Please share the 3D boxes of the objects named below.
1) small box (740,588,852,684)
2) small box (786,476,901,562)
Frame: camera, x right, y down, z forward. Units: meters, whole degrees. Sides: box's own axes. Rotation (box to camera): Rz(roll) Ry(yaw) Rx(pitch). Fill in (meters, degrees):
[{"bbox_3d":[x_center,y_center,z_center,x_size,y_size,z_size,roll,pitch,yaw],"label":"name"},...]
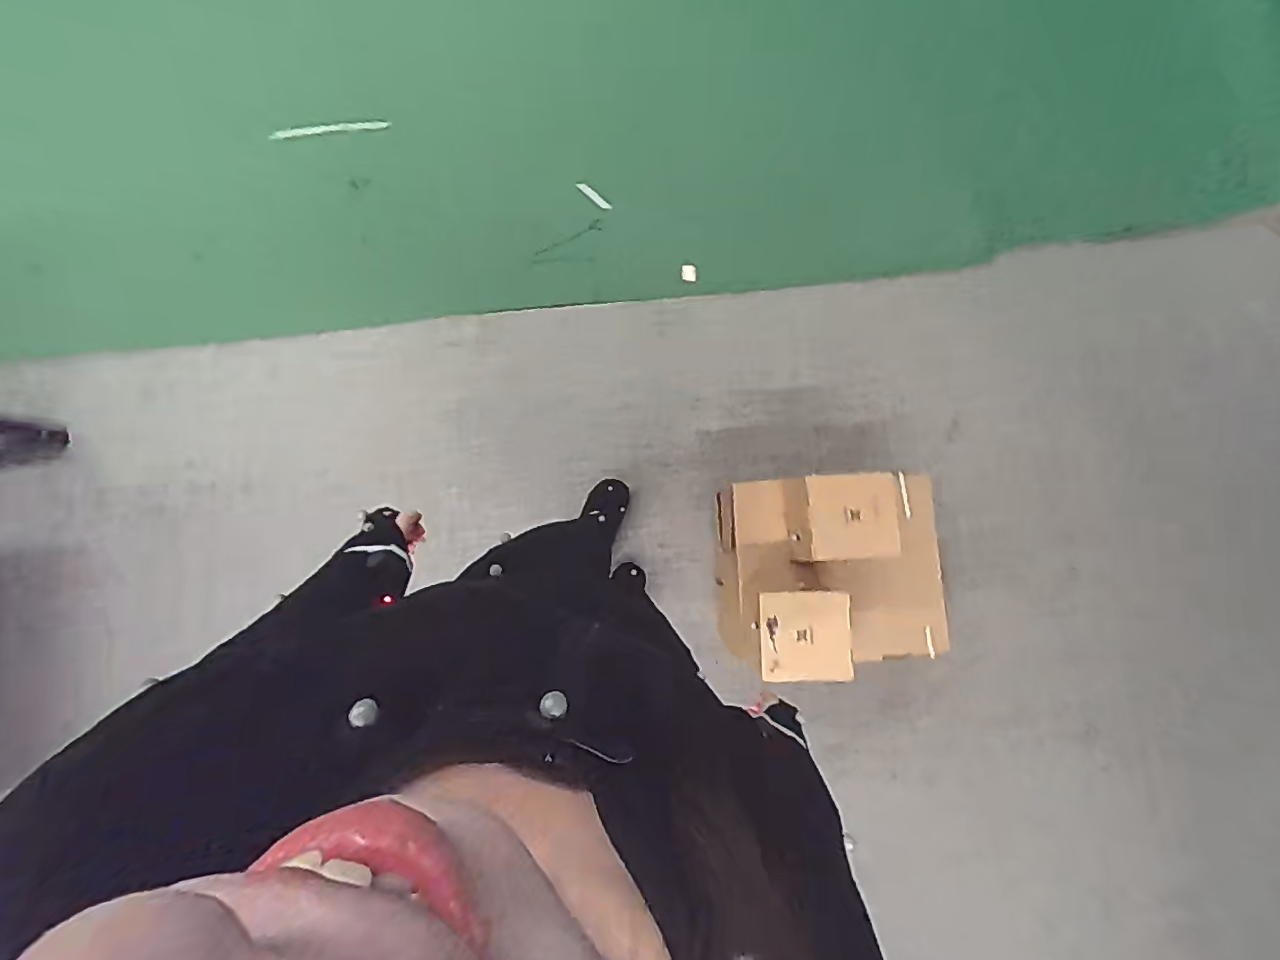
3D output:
[{"bbox_3d":[0.308,0.306,1.090,0.179,0.176,0.168,1,83,-1],"label":"small box"},{"bbox_3d":[0.410,0.086,1.124,0.179,0.176,0.168,-1,83,-2],"label":"small box"}]
